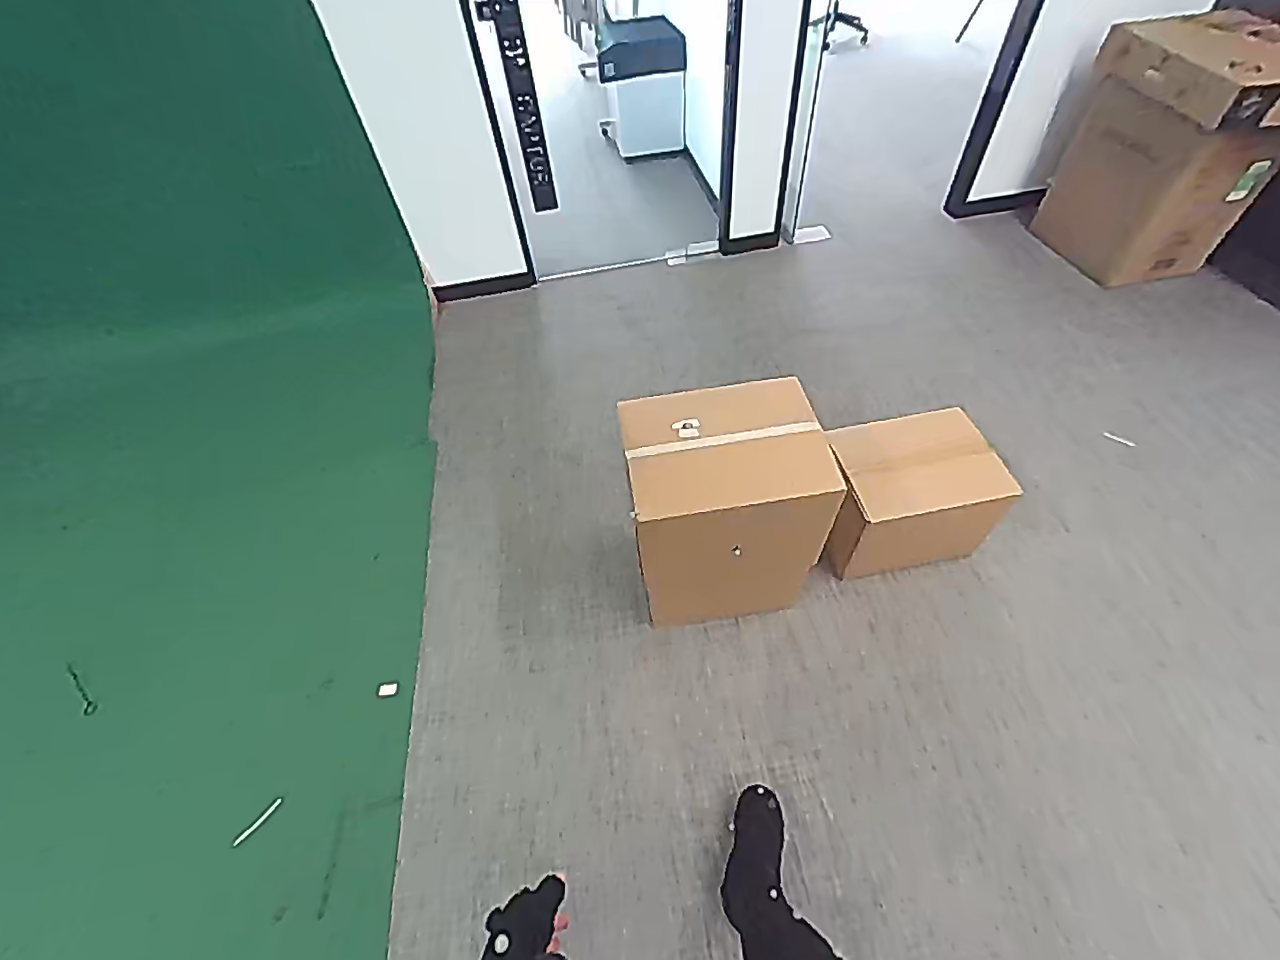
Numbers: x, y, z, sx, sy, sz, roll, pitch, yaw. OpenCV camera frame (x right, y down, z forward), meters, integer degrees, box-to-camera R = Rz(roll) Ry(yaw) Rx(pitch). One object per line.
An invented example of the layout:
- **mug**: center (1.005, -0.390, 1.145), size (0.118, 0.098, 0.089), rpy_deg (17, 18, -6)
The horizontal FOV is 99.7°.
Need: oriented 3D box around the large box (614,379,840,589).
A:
- **large box**: center (0.173, 0.018, 1.212), size (0.408, 0.320, 0.320), rpy_deg (-9, 54, -1)
